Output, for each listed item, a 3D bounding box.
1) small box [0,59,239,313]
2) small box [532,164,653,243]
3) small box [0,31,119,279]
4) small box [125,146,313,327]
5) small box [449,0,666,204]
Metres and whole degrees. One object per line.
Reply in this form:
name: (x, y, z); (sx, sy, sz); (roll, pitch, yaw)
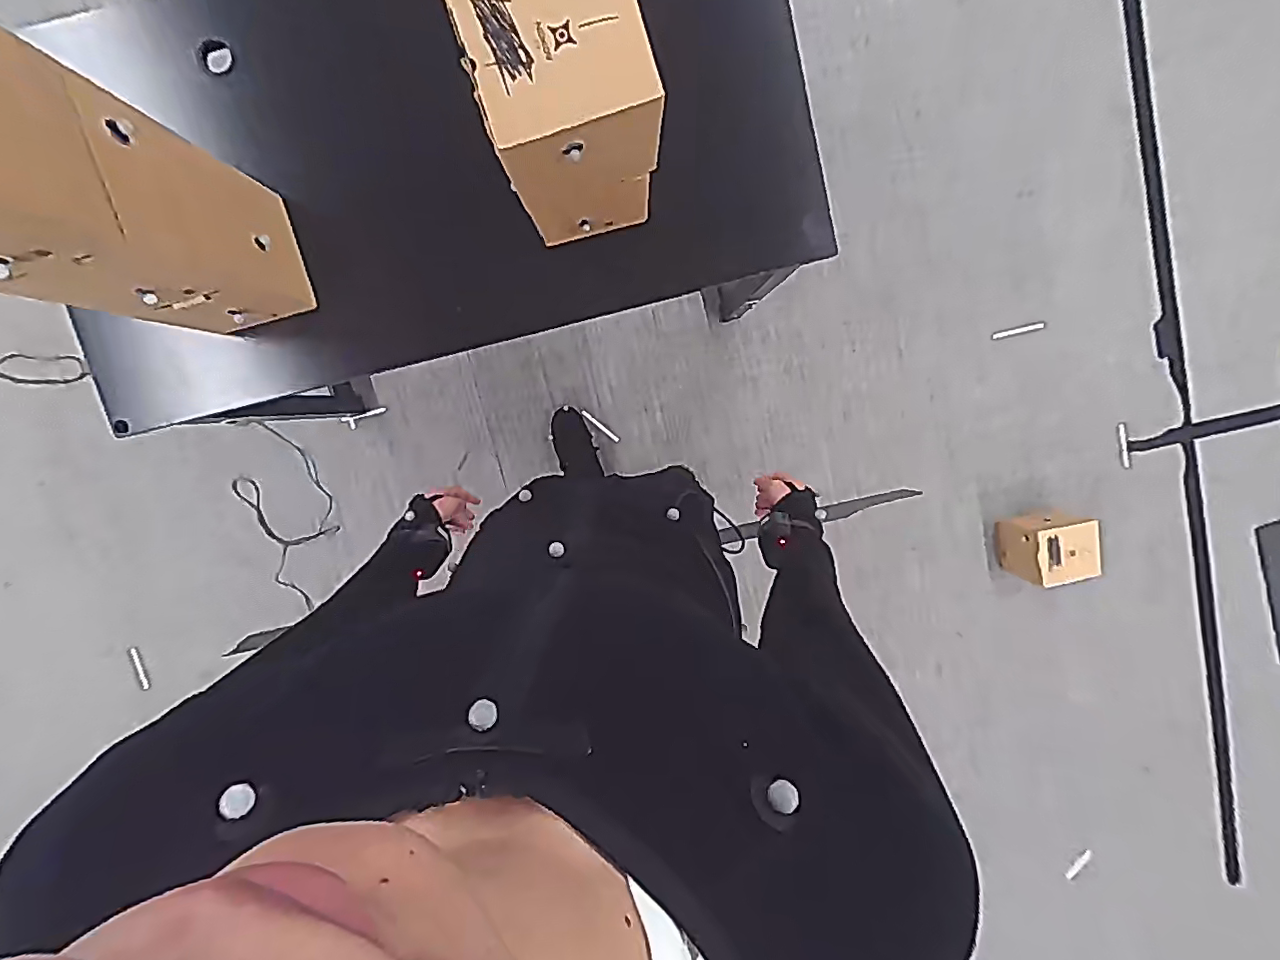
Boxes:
small box: (-0.601, -0.303, 0.596); (0.168, 0.176, 0.179); (-15, 98, 2)
small box: (-0.084, -0.459, 0.752); (0.168, 0.176, 0.179); (-14, 98, 1)
small box: (-0.597, -0.281, 0.435); (0.168, 0.176, 0.179); (-15, 98, 2)
small box: (-0.603, -0.323, 0.760); (0.168, 0.176, 0.179); (-16, 98, 1)
small box: (-0.080, -0.431, 0.590); (0.179, 0.176, 0.168); (-18, 98, 1)
